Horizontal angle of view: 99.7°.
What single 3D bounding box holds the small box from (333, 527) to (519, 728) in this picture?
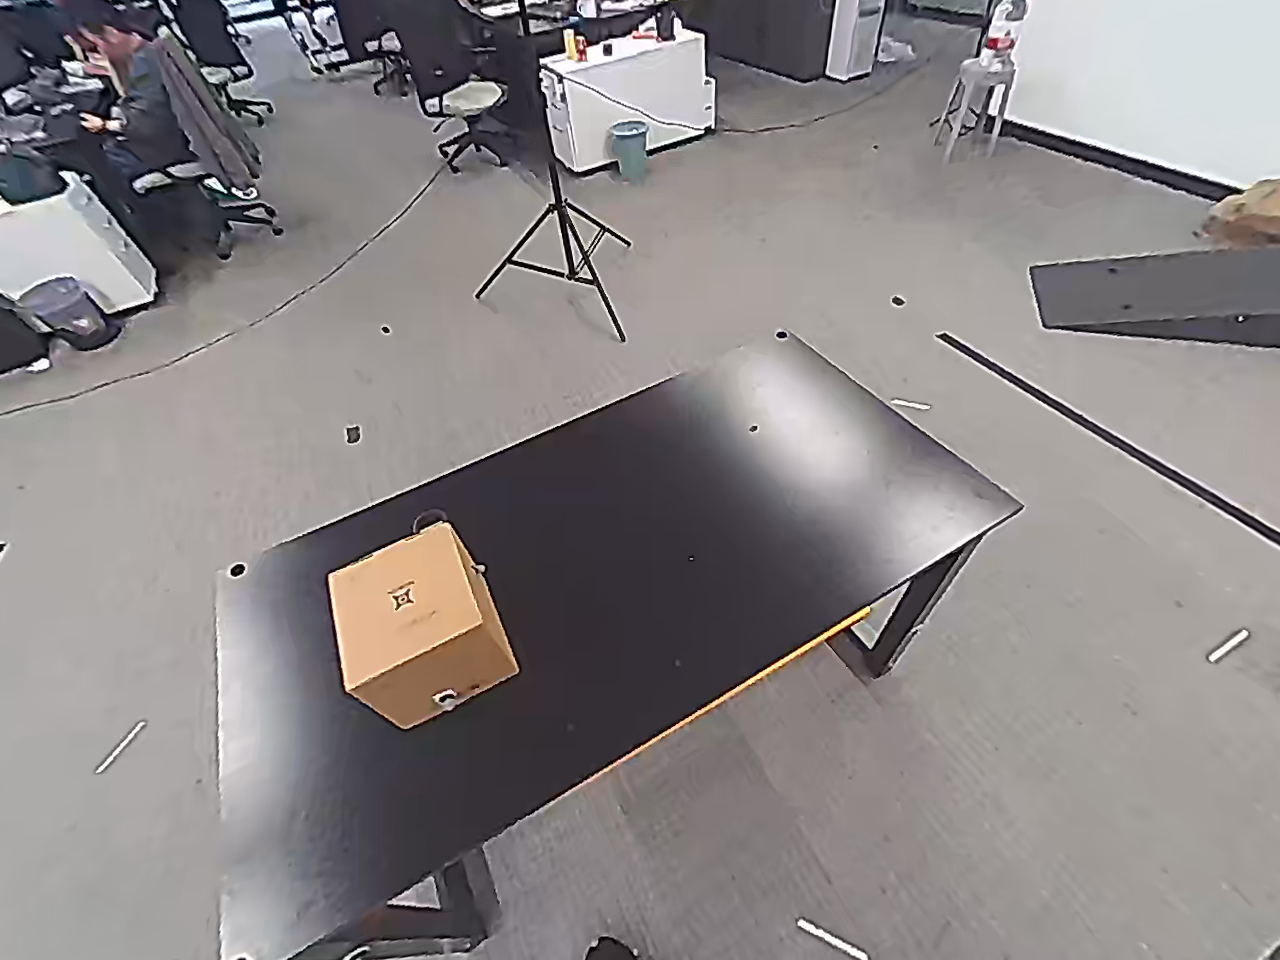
[{"bbox_3d":[-0.286,0.202,0.739,0.168,0.176,0.179,-26,53,-13],"label":"small box"}]
